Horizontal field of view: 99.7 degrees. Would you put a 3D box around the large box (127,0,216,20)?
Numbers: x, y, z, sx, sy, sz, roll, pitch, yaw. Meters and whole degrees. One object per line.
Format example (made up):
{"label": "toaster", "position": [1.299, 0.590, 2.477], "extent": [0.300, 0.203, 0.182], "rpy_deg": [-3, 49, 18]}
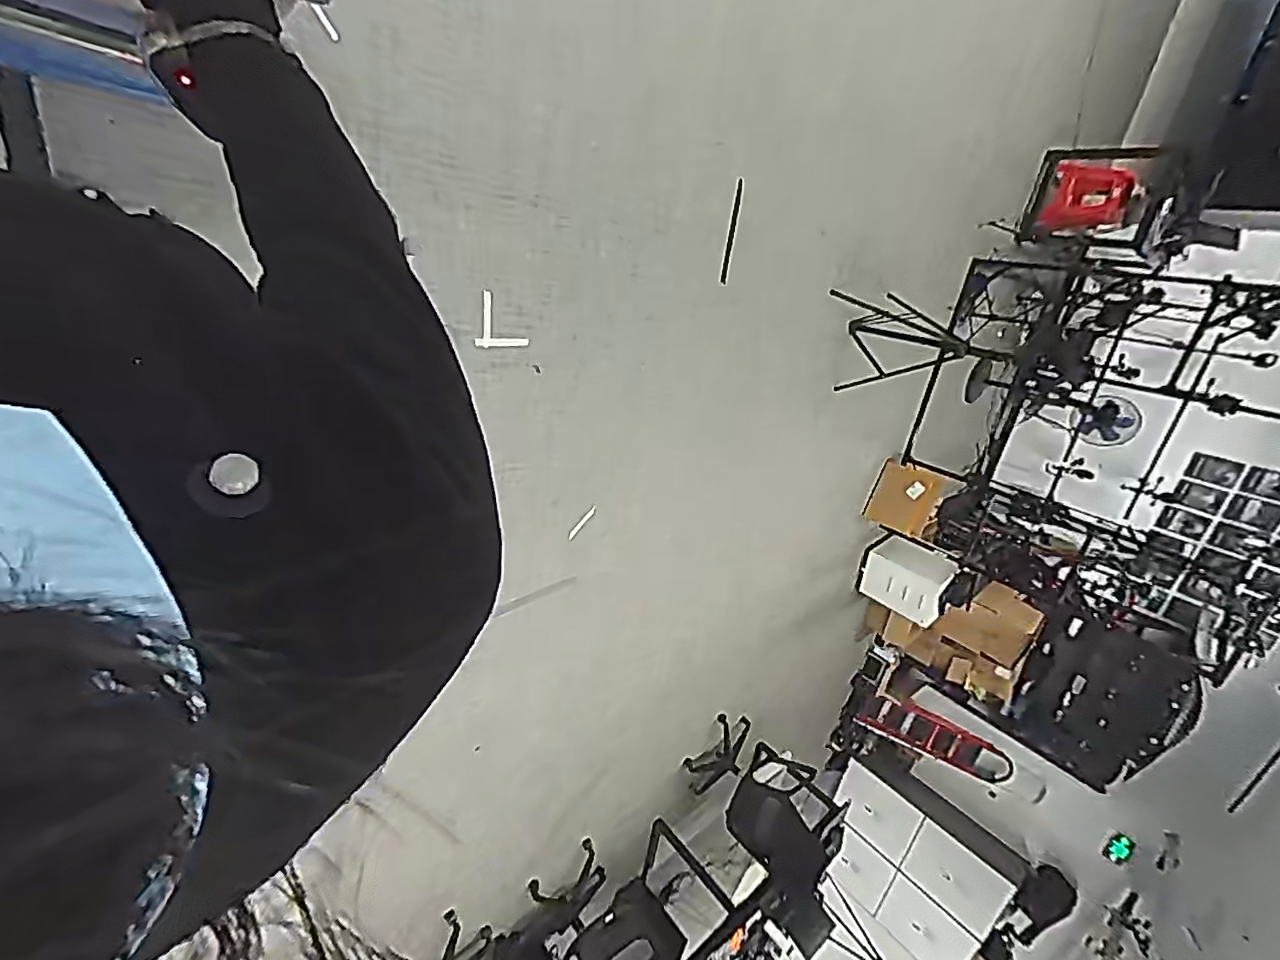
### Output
{"label": "large box", "position": [-0.744, -0.793, 0.599], "extent": [0.408, 0.320, 0.320], "rpy_deg": [-15, 123, -41]}
